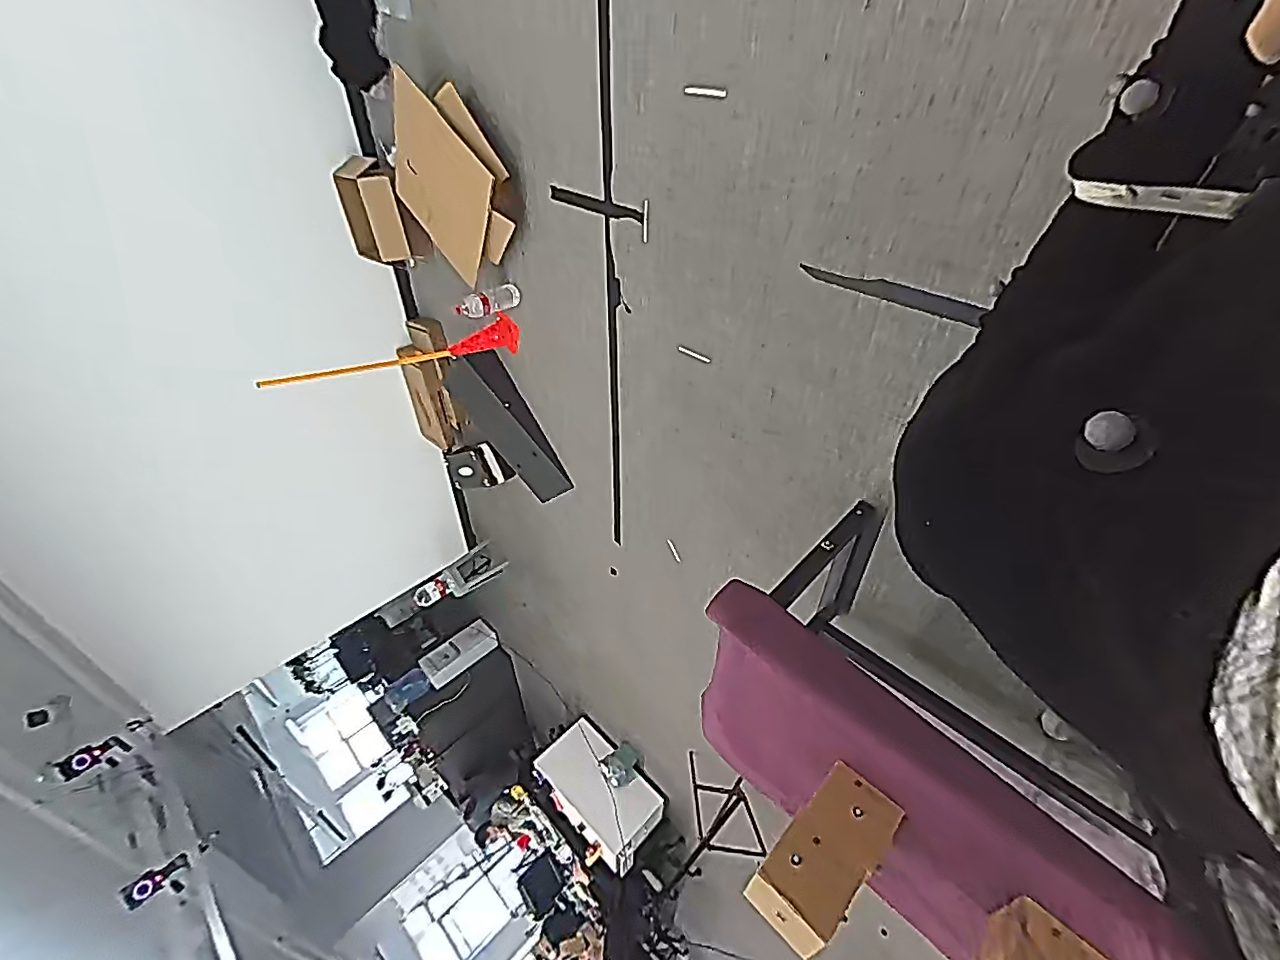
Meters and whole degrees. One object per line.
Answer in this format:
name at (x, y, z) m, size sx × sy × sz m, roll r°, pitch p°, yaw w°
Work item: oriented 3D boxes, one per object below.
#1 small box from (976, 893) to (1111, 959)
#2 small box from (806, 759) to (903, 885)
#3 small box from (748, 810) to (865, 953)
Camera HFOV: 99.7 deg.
small box at (0.765, 0.940, 1.029) m, size 0.168 × 0.176 × 0.179 m, roll 32°, pitch 139°, yaw 33°
small box at (0.484, 0.795, 1.259) m, size 0.168 × 0.176 × 0.179 m, roll 33°, pitch 139°, yaw 32°
small box at (0.363, 0.866, 1.178) m, size 0.168 × 0.176 × 0.179 m, roll 34°, pitch 141°, yaw 32°
